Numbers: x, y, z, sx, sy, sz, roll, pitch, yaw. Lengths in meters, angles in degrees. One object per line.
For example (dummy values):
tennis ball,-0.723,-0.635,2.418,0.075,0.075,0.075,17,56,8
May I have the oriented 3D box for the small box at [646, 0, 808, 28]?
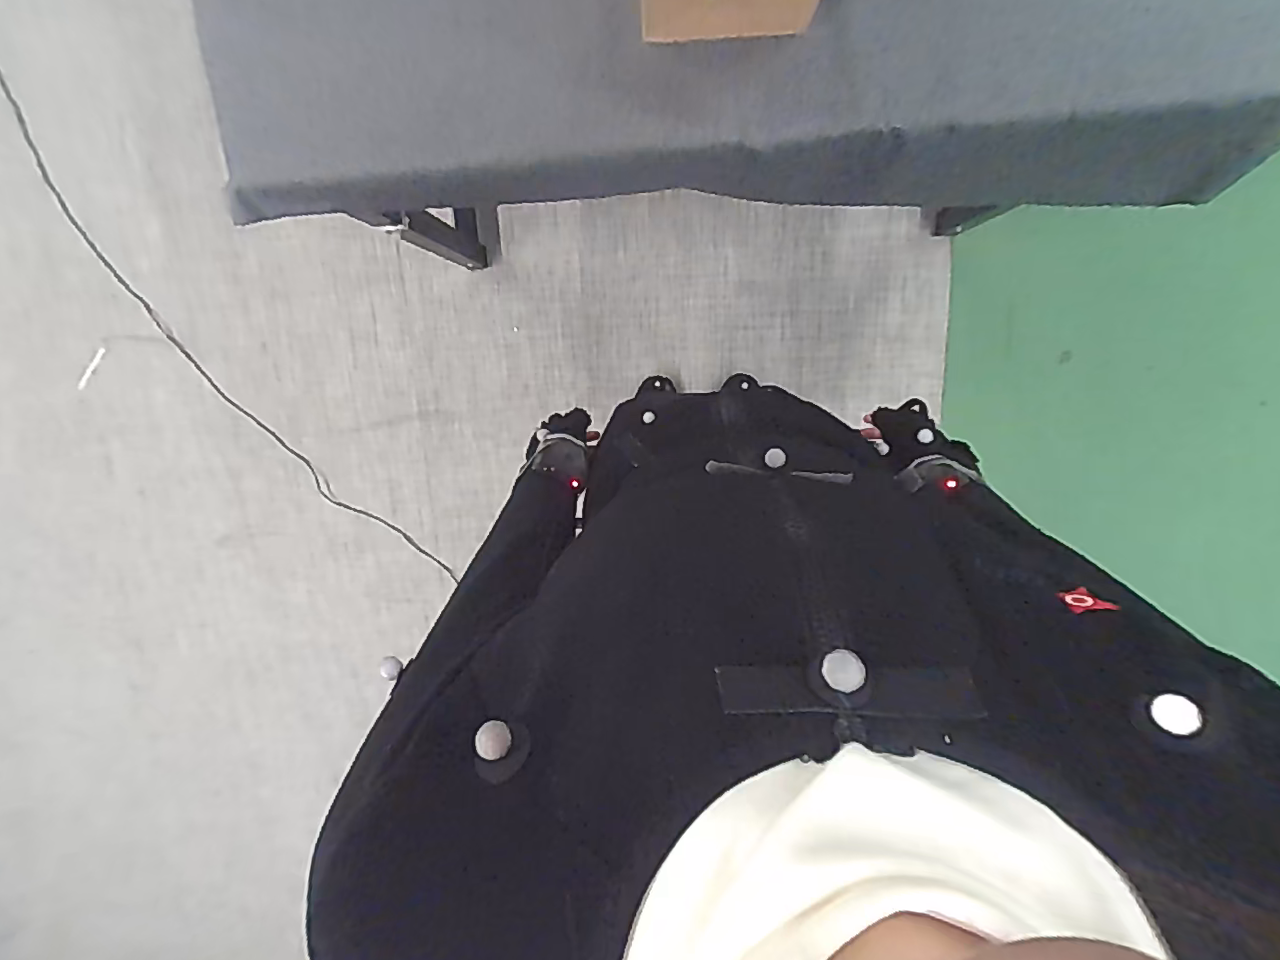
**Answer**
small box,0.085,-0.555,0.491,0.179,0.176,0.168,-4,101,3
